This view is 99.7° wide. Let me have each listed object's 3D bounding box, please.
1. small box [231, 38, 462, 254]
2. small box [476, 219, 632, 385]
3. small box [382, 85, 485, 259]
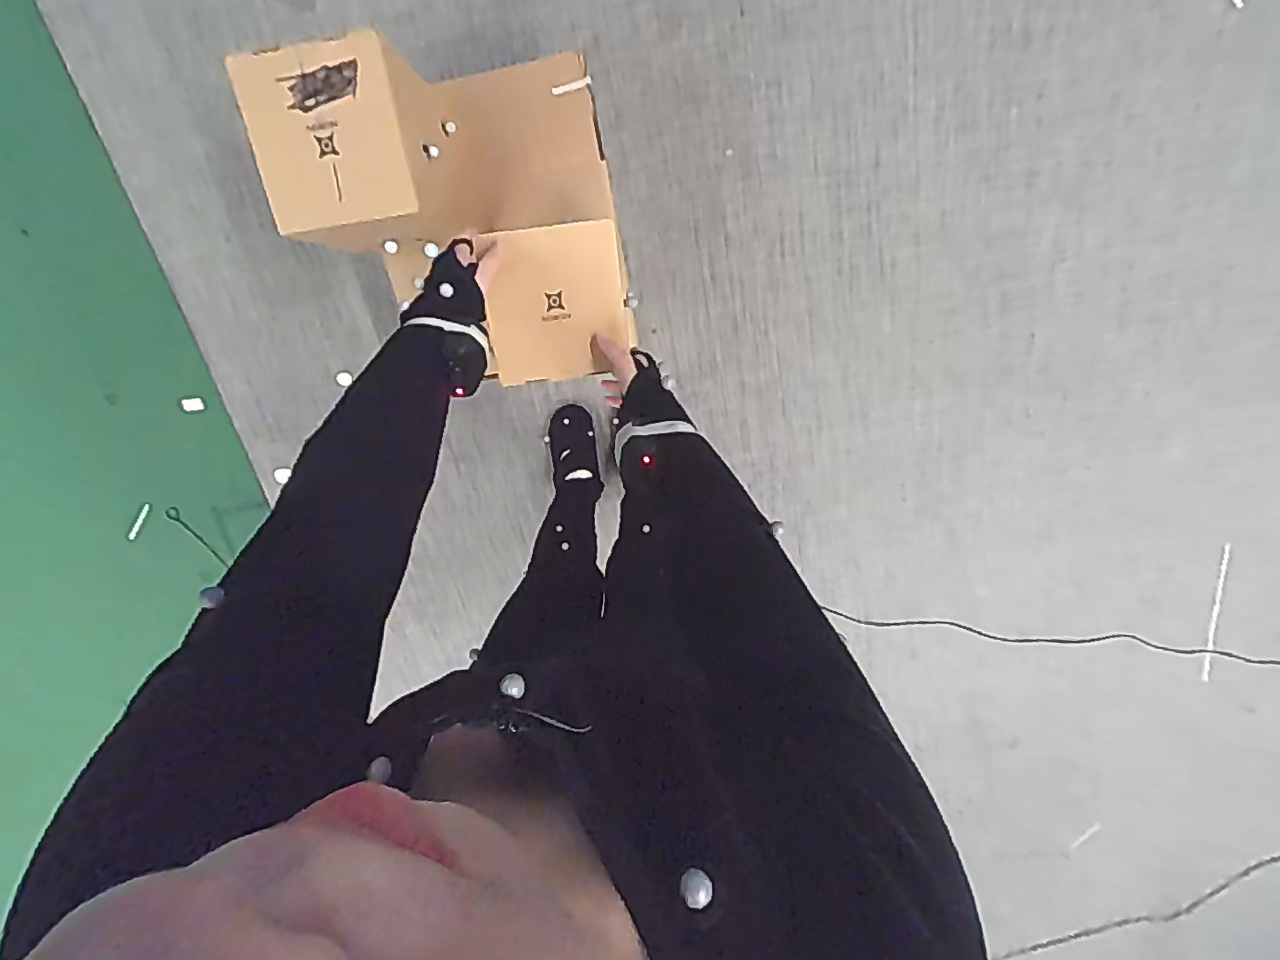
[{"bbox_3d":[-0.339,-0.391,0.664,0.168,0.176,0.179,-8,107,2],"label":"small box"},{"bbox_3d":[-0.105,-0.233,0.723,0.168,0.176,0.179,-8,109,0],"label":"small box"},{"bbox_3d":[-0.352,-0.450,0.818,0.168,0.176,0.179,-10,106,3],"label":"small box"}]
